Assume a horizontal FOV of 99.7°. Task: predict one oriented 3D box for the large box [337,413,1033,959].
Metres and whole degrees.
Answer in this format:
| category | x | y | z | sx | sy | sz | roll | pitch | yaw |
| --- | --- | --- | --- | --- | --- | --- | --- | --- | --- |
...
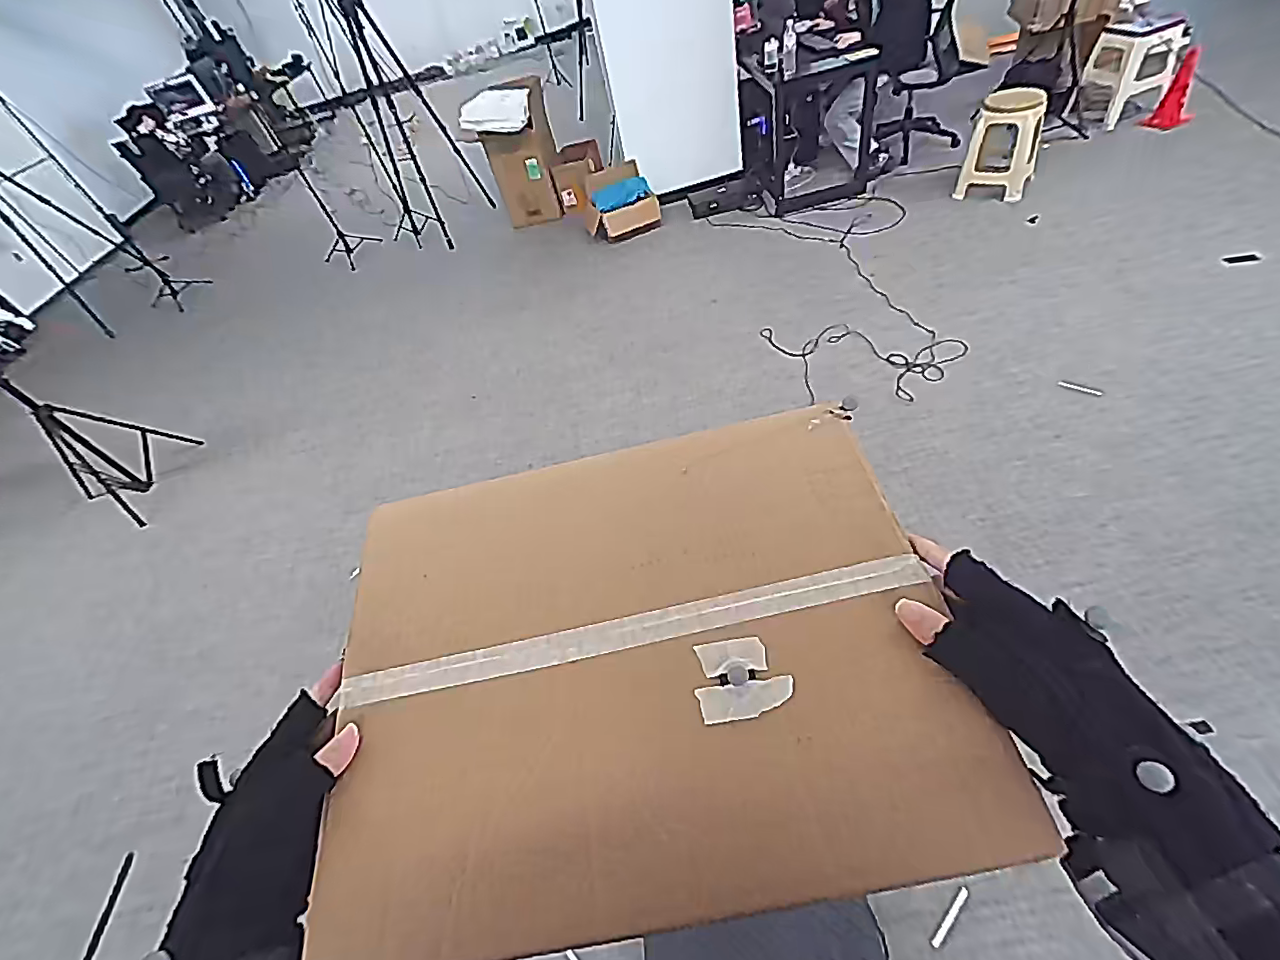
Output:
| category | x | y | z | sx | sy | sz | roll | pitch | yaw |
| --- | --- | --- | --- | --- | --- | --- | --- | --- | --- |
| large box | 0.019 | 0.191 | 0.502 | 0.408 | 0.320 | 0.320 | -12 | 56 | 2 |
